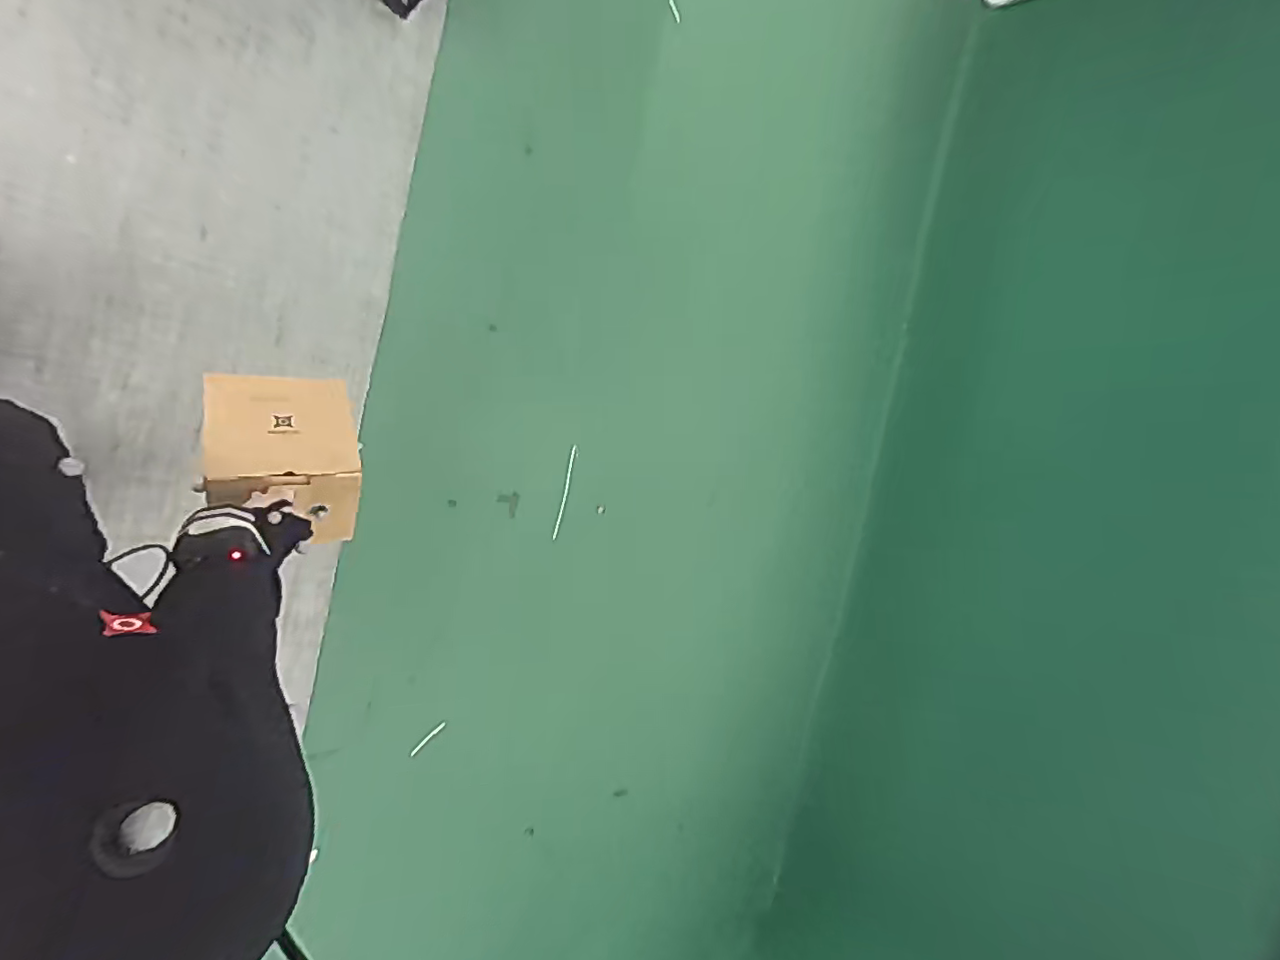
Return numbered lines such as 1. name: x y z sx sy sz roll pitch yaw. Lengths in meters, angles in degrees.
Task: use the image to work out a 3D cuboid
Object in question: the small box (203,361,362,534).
1. small box: -0.493 -0.038 0.747 0.168 0.179 0.176 -3 144 -37
